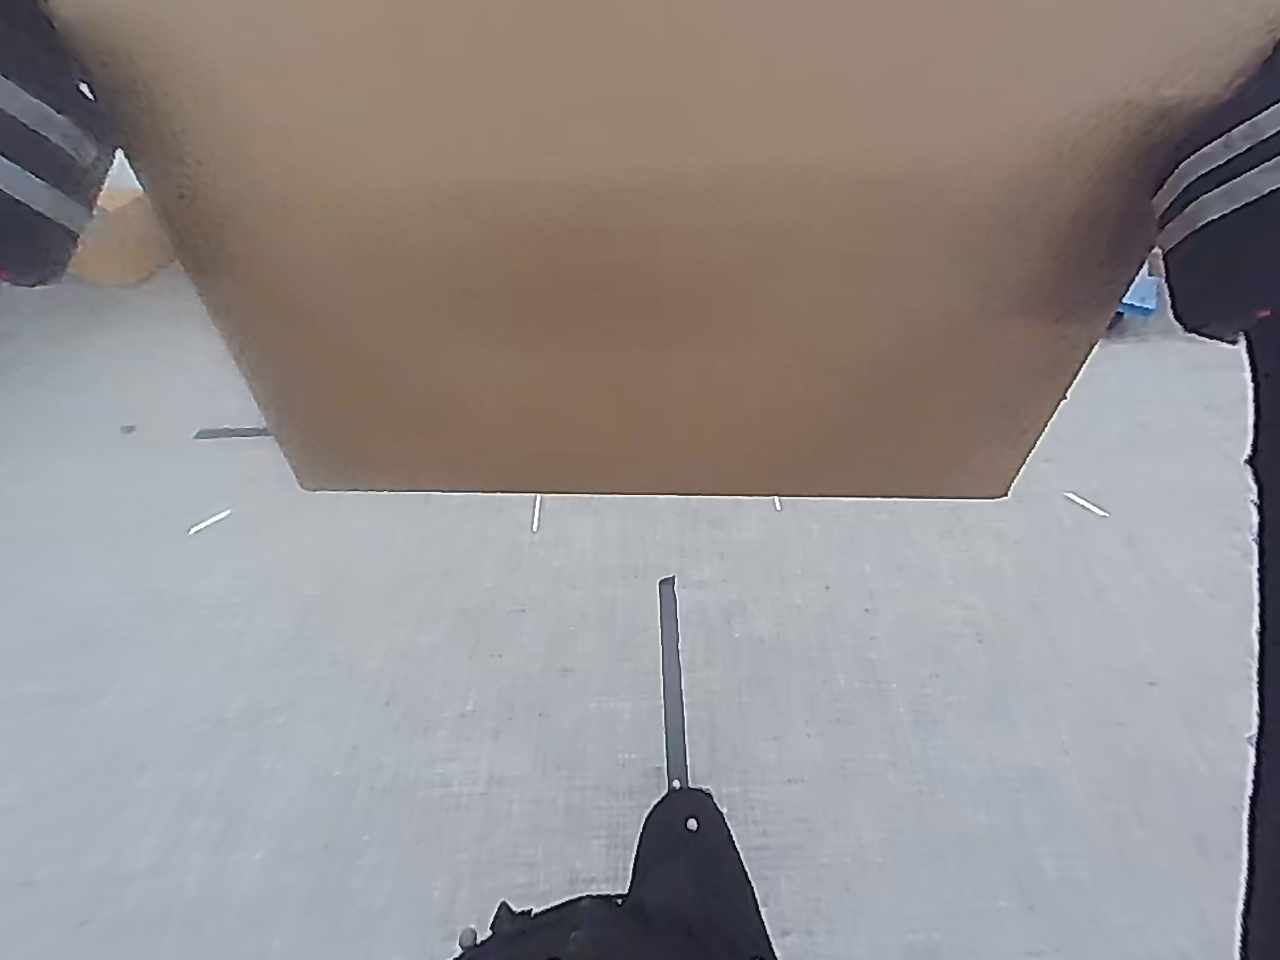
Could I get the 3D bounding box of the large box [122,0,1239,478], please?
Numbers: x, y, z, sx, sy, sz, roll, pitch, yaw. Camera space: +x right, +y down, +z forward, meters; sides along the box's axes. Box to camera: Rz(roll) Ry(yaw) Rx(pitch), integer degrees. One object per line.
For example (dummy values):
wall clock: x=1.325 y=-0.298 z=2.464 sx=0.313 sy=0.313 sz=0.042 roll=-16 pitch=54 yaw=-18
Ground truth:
large box: x=0.012 y=-0.211 z=0.343 sx=0.408 sy=0.320 sz=0.320 roll=1 pitch=40 yaw=-1
